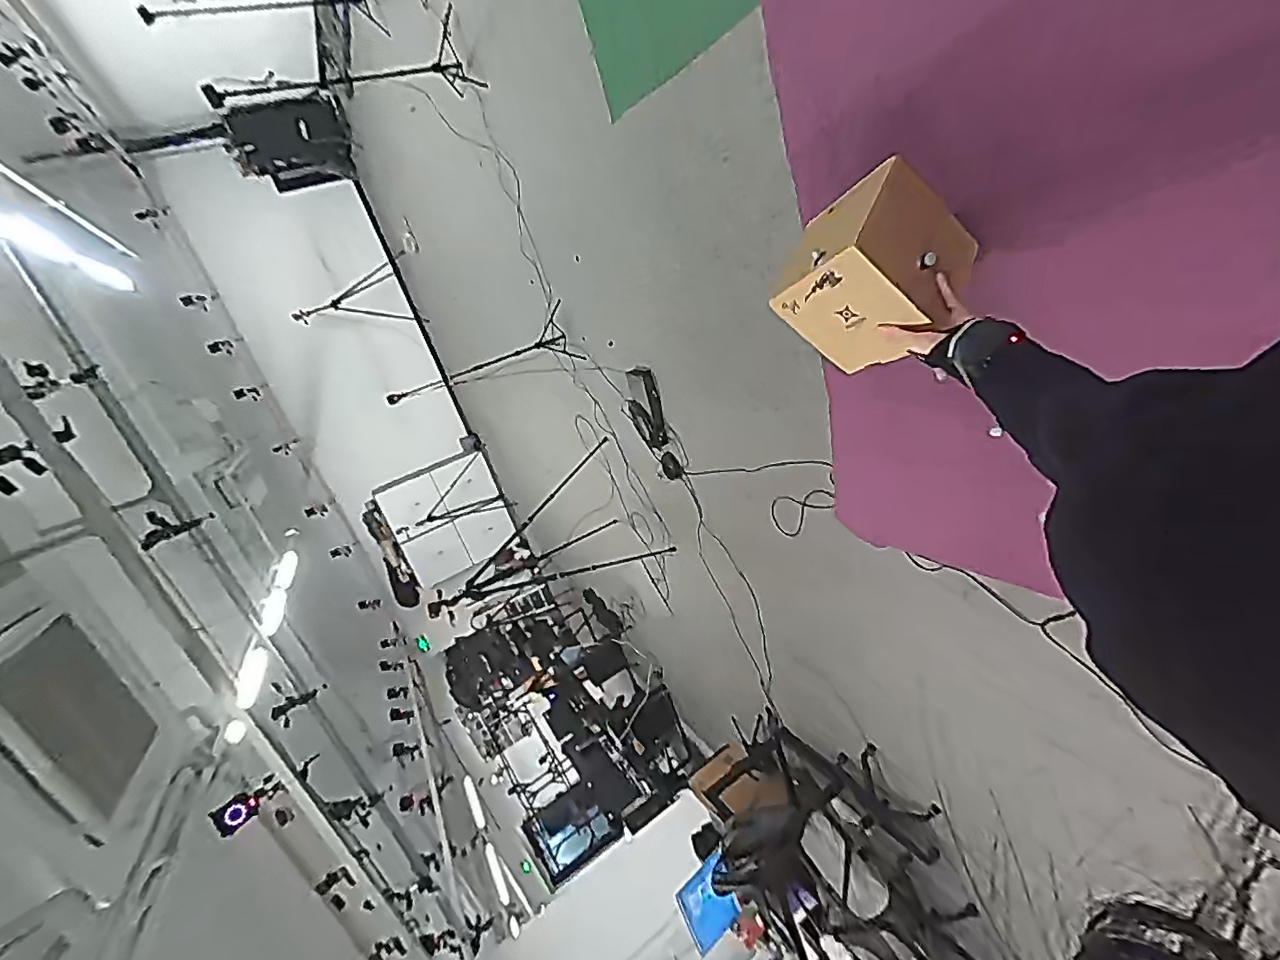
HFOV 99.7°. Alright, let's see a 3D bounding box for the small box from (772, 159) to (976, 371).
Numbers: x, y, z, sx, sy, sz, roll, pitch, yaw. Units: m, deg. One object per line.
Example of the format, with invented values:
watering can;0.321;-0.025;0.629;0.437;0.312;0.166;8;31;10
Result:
small box;0.319;-0.285;0.737;0.179;0.176;0.168;31;161;-17
